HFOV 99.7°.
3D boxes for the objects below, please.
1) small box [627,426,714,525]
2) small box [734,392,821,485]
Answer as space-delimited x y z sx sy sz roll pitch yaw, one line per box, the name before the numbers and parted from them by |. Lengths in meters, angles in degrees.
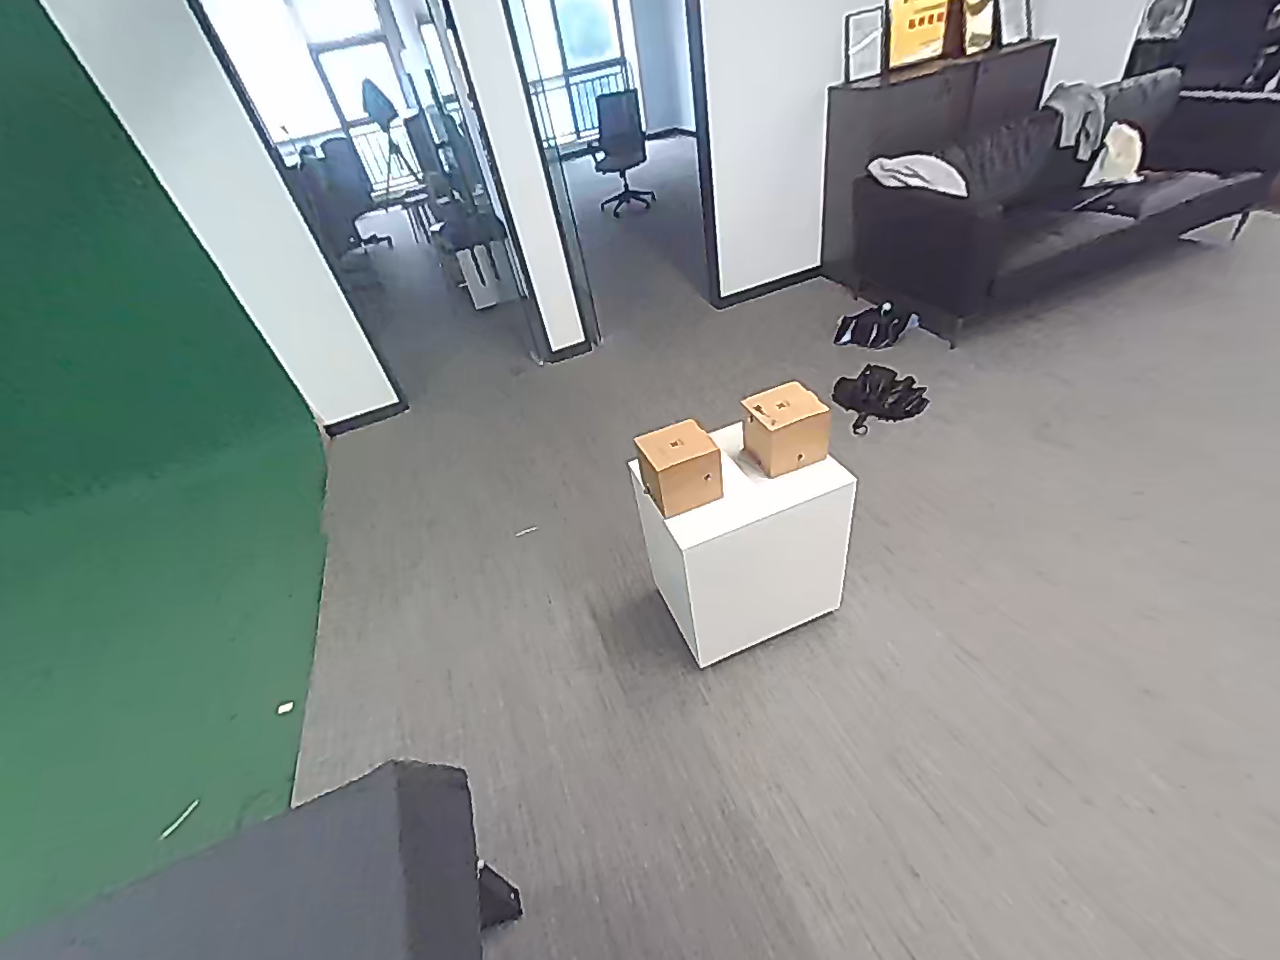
small box | 0.081 -0.012 1.419 0.179 0.176 0.168 -21 39 -14
small box | 0.370 -0.113 1.487 0.179 0.176 0.168 -18 40 -12
